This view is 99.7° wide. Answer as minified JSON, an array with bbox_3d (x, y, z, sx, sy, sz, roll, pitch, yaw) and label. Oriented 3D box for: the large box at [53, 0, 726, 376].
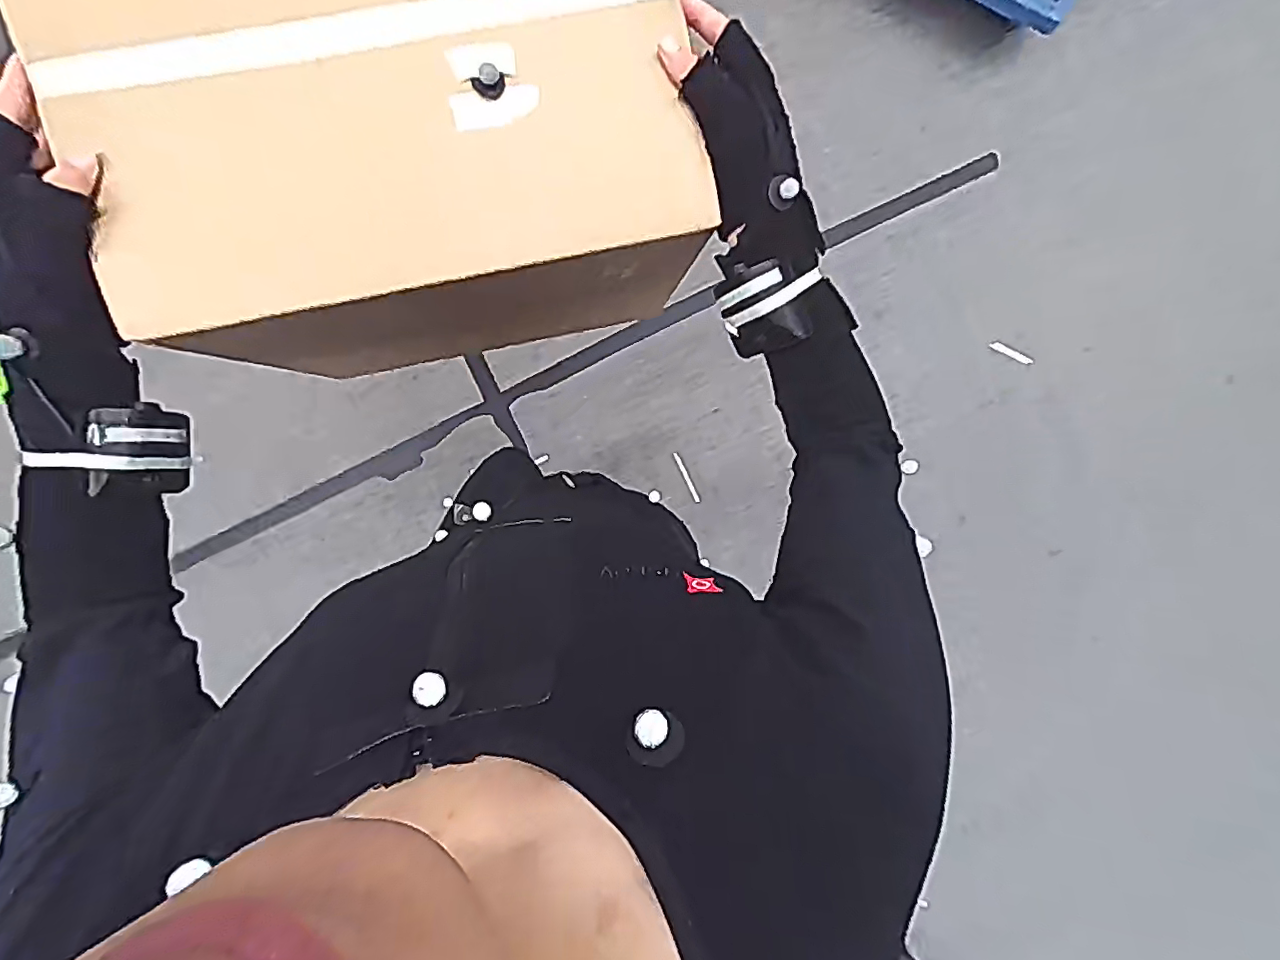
[{"bbox_3d":[-0.179,-0.304,0.504,0.408,0.320,0.320,-13,97,-6],"label":"large box"}]
